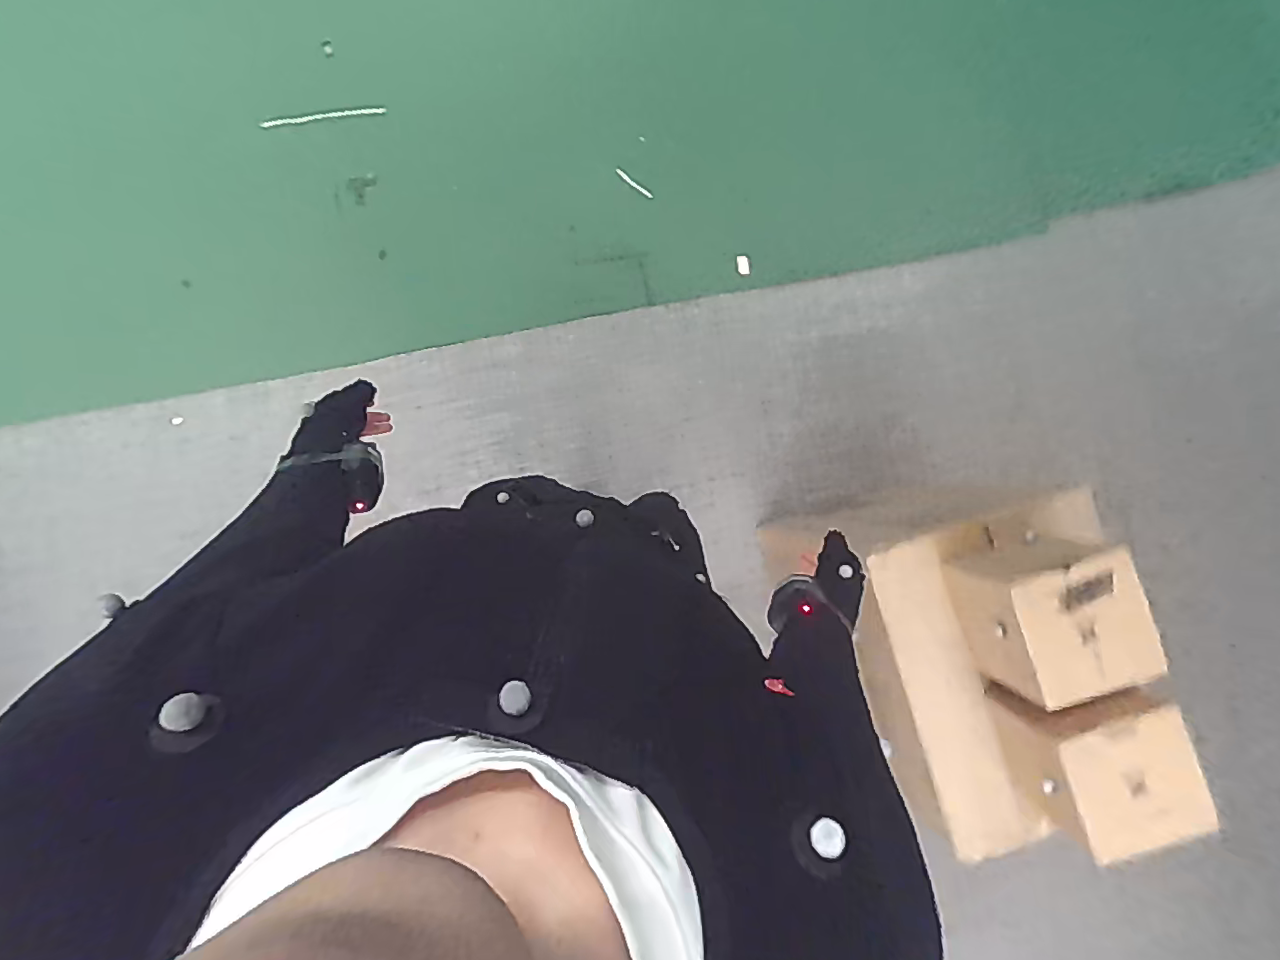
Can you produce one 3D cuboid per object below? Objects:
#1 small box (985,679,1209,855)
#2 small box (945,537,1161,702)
[{"bbox_3d":[0.653,0.393,0.798,0.168,0.176,0.179,-20,92,3],"label":"small box"},{"bbox_3d":[0.587,0.189,0.795,0.168,0.176,0.179,-18,91,2],"label":"small box"}]
